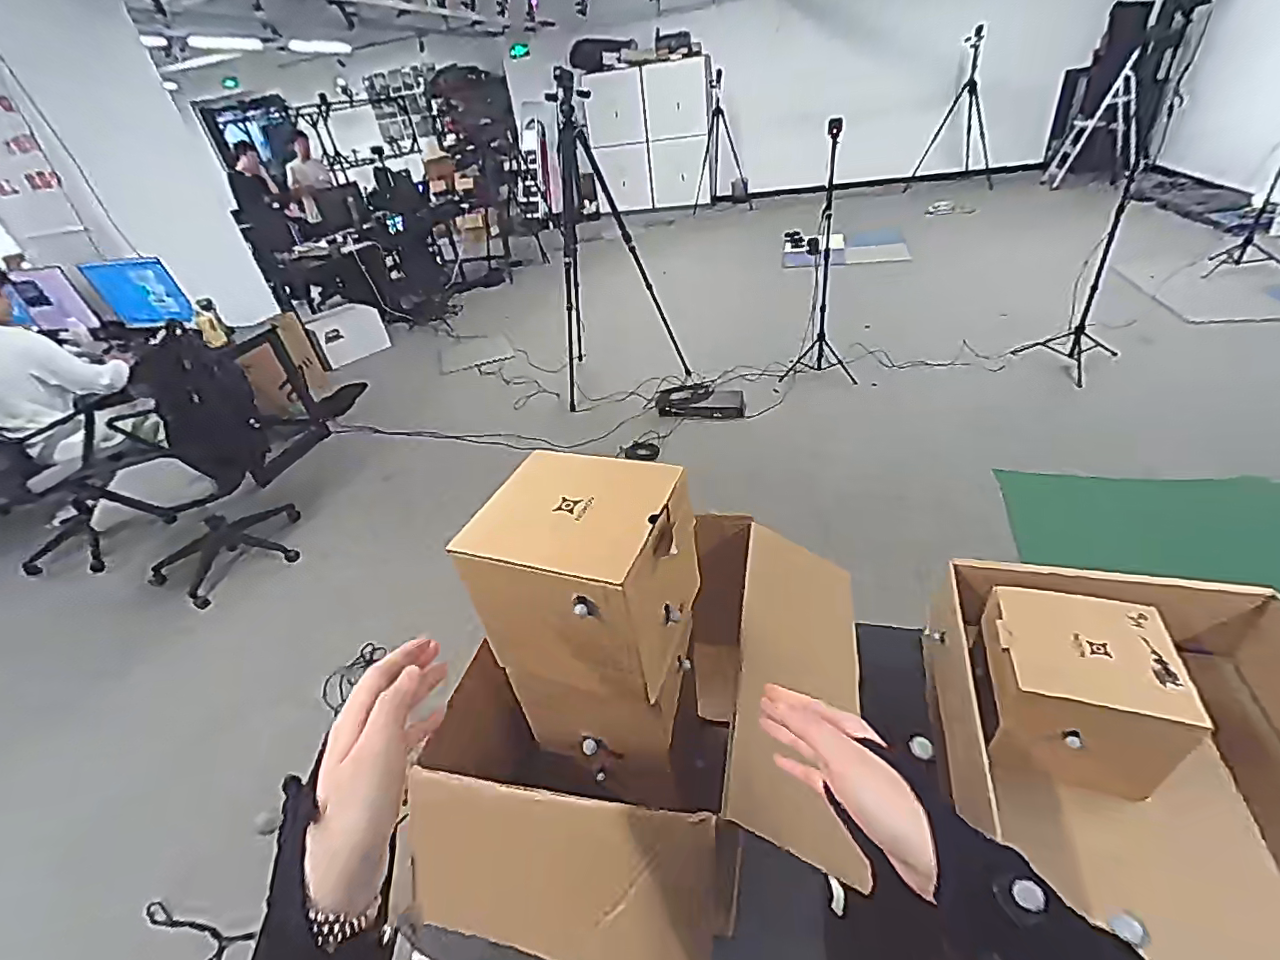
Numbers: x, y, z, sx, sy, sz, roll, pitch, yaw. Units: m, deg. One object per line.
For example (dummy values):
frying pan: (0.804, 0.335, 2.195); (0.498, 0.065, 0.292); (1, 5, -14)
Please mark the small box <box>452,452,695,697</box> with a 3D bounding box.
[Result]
small box: (-0.051, 0.092, 0.552); (0.179, 0.176, 0.168); (8, 39, 21)
